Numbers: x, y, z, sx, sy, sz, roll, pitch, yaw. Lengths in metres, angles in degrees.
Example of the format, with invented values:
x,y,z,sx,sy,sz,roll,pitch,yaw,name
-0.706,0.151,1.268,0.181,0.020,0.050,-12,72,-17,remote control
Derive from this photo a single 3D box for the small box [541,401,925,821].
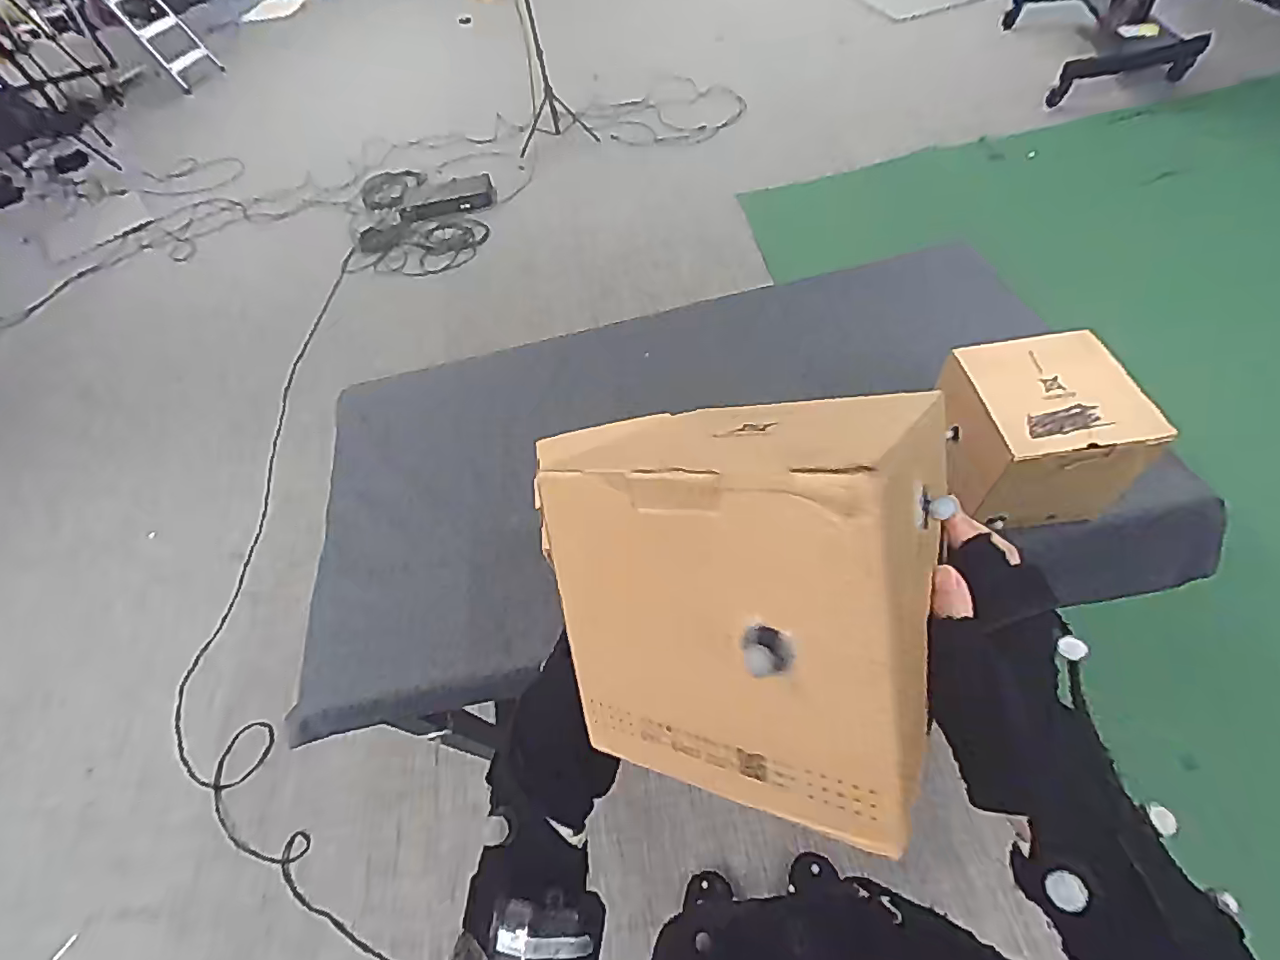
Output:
x,y,z,sx,sy,sz,roll,pitch,yaw,name
0.070,0.053,0.323,0.168,0.176,0.179,2,16,33,small box

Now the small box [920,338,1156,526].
x,y,z,sx,sy,sz,roll,pitch,yaw,name
0.481,-0.052,0.697,0.168,0.176,0.179,-7,54,5,small box

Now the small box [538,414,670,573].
x,y,z,sx,sy,sz,roll,pitch,yaw,name
-0.025,0.043,0.711,0.179,0.176,0.168,-11,53,1,small box
